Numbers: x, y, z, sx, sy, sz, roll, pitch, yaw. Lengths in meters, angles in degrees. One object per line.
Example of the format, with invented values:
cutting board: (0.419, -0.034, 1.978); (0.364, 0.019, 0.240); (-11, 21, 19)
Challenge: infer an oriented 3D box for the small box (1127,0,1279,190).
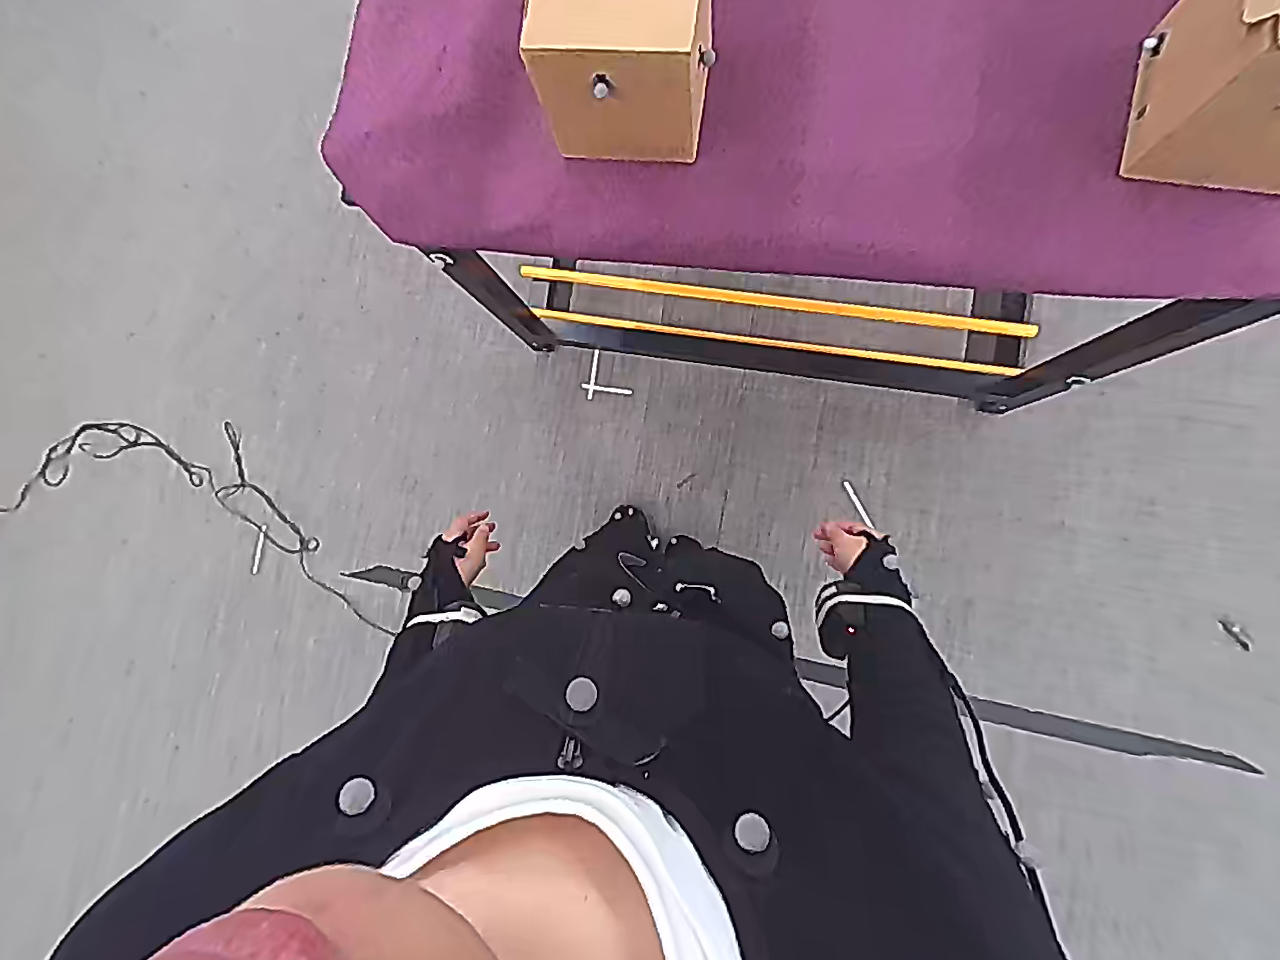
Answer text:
small box: (0.621, -0.404, 0.511); (0.179, 0.176, 0.168); (12, 87, 8)

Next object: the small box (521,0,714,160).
small box: (-0.012, -0.490, 0.606); (0.179, 0.176, 0.168); (8, 87, 8)
